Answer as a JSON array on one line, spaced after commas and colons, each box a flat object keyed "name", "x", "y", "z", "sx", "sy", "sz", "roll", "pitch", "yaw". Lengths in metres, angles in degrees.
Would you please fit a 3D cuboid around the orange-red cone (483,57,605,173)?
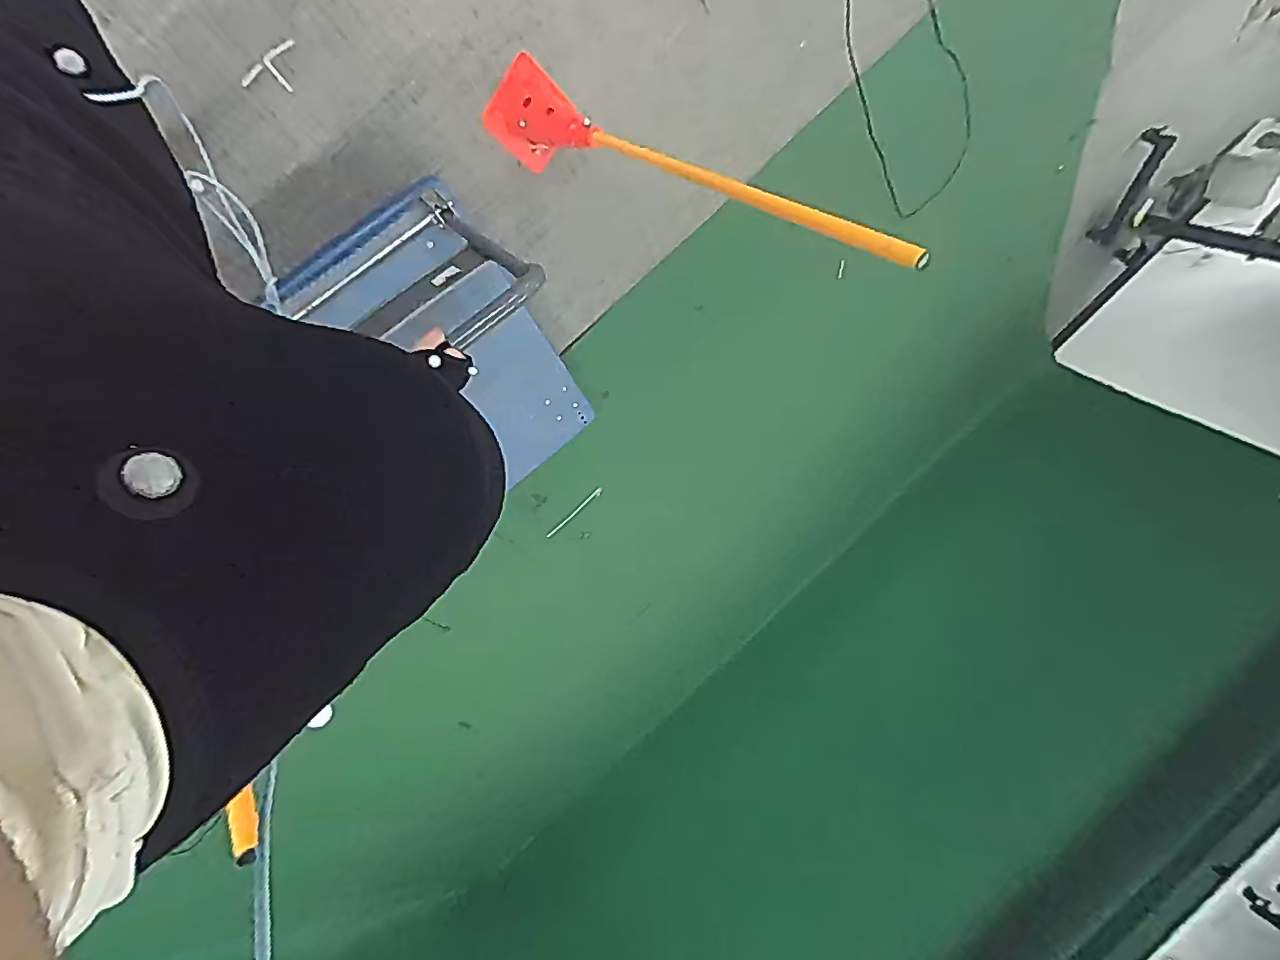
[{"name": "orange-red cone", "x": -0.190, "y": -0.846, "z": 1.293, "sx": 0.199, "sy": 0.360, "sz": 0.198, "roll": -54, "pitch": 141, "yaw": 9}]
